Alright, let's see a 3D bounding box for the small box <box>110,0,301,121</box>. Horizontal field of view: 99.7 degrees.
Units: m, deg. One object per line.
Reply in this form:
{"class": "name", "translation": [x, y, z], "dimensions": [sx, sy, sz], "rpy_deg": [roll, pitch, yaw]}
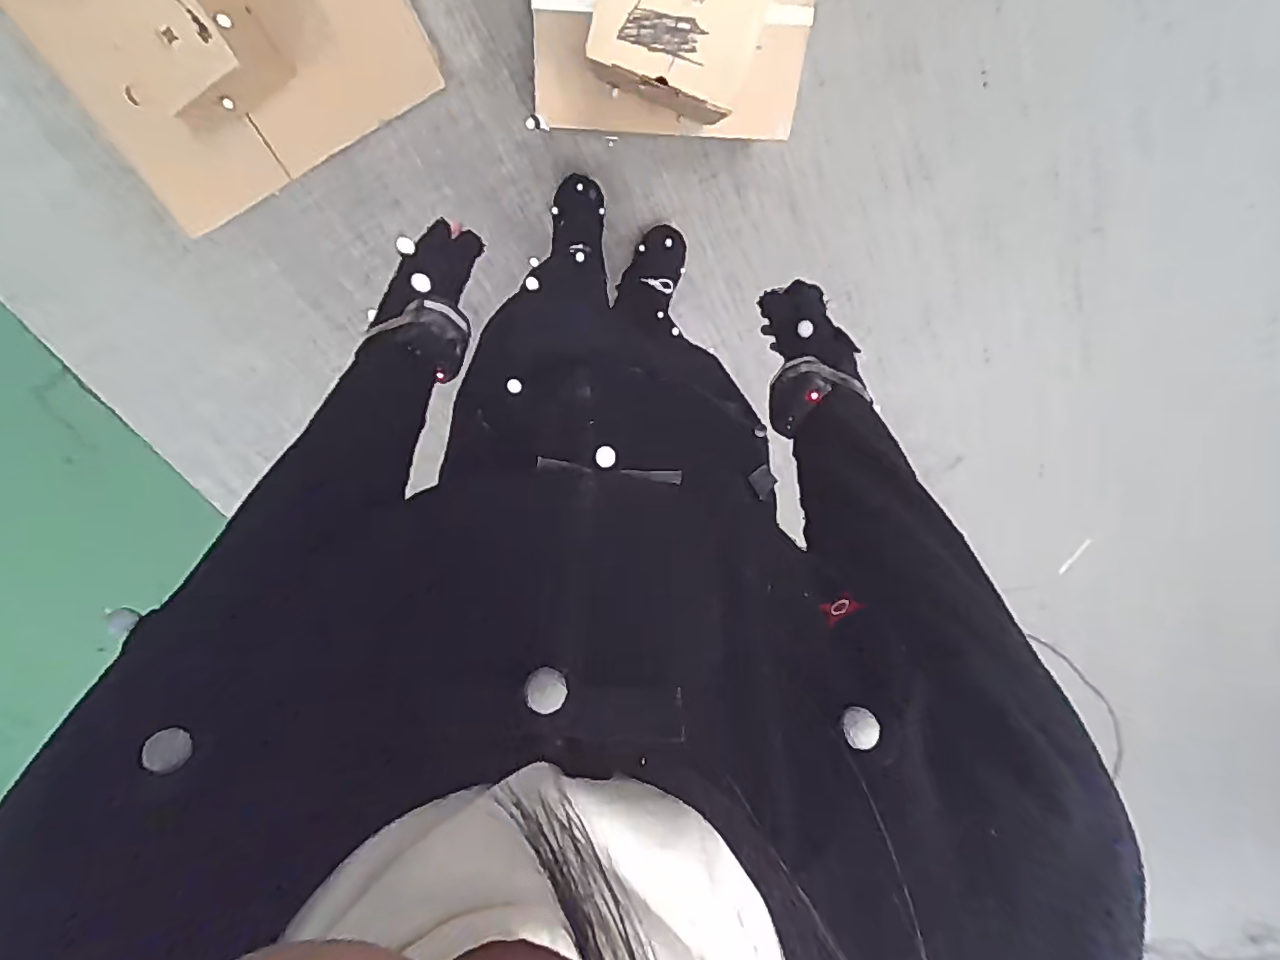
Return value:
{"class": "small box", "translation": [-0.774, -0.788, 0.986], "dimensions": [0.179, 0.176, 0.168], "rpy_deg": [-25, 115, 16]}

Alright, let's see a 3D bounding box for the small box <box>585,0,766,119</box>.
{"class": "small box", "translation": [0.045, -0.522, 0.596], "dimensions": [0.168, 0.176, 0.179], "rpy_deg": [13, 120, -7]}
